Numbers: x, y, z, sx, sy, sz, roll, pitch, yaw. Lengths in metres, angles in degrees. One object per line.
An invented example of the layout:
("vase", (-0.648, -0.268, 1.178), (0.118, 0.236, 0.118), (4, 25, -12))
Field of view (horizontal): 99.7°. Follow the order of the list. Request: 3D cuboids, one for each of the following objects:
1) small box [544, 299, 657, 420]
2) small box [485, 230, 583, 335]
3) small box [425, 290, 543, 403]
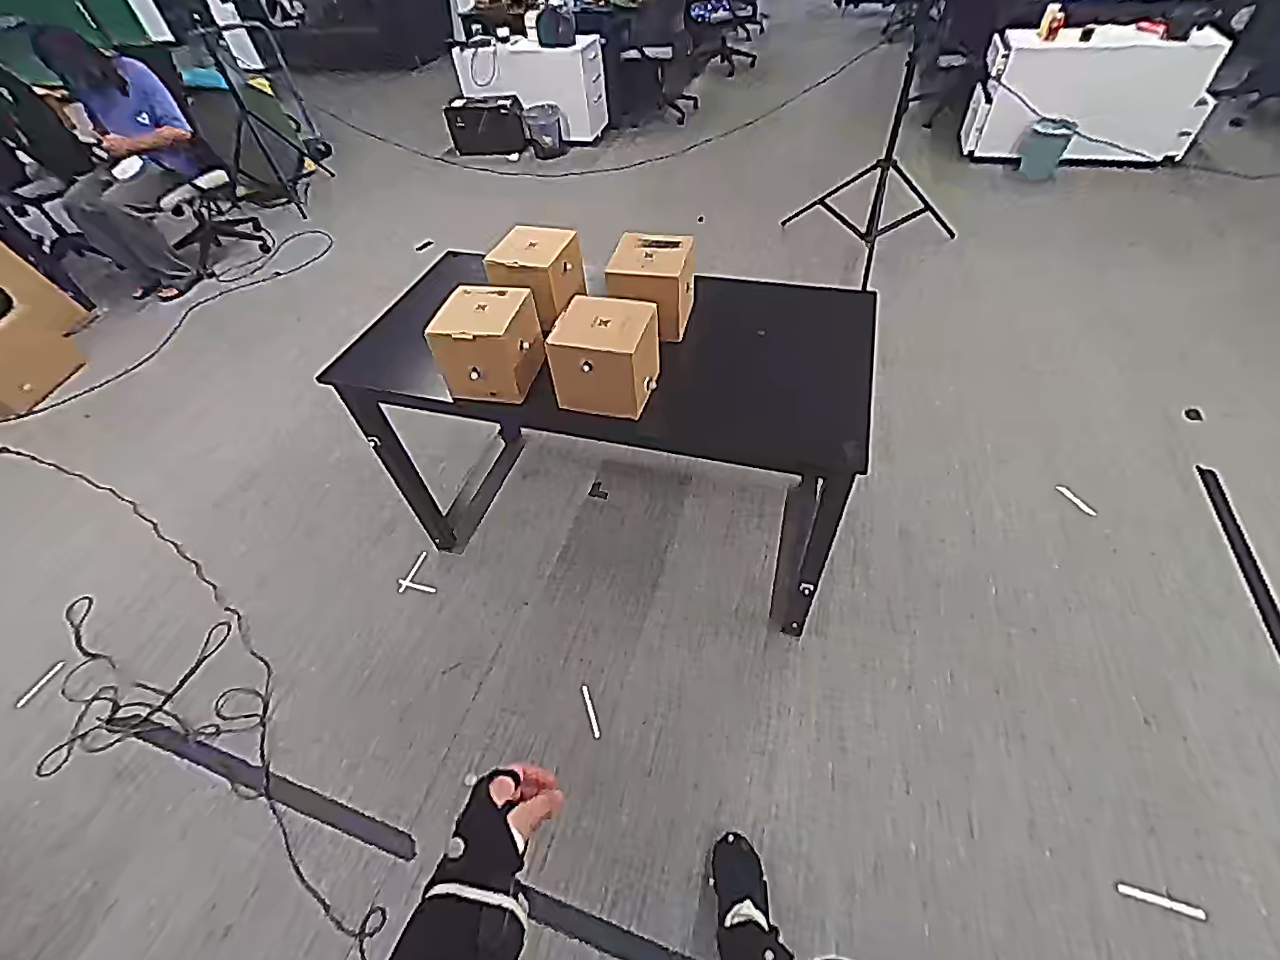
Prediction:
("small box", (-0.070, -0.242, 1.095), (0.179, 0.176, 0.168), (10, 52, 13))
("small box", (-0.248, -0.482, 1.318), (0.168, 0.176, 0.179), (12, 52, 15))
("small box", (-0.318, -0.282, 1.150), (0.168, 0.176, 0.179), (6, 50, 10))
